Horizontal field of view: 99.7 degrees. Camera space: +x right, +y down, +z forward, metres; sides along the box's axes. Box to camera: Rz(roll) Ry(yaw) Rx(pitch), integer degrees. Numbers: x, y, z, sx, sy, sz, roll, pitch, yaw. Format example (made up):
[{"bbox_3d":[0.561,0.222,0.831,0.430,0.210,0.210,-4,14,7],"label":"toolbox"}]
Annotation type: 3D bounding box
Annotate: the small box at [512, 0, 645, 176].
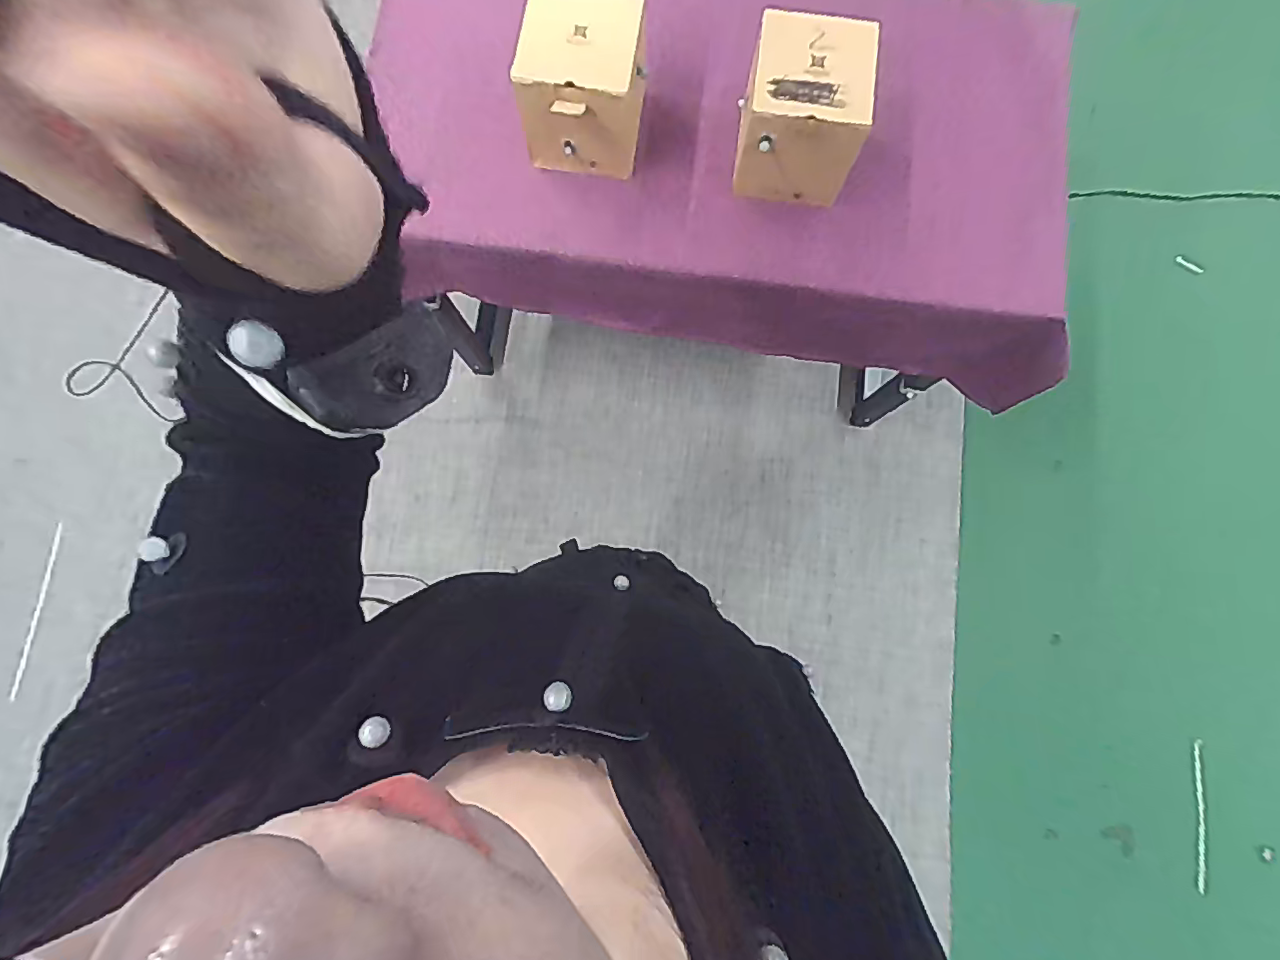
[{"bbox_3d":[-0.088,-0.621,0.847,0.168,0.176,0.179,8,82,1],"label":"small box"}]
